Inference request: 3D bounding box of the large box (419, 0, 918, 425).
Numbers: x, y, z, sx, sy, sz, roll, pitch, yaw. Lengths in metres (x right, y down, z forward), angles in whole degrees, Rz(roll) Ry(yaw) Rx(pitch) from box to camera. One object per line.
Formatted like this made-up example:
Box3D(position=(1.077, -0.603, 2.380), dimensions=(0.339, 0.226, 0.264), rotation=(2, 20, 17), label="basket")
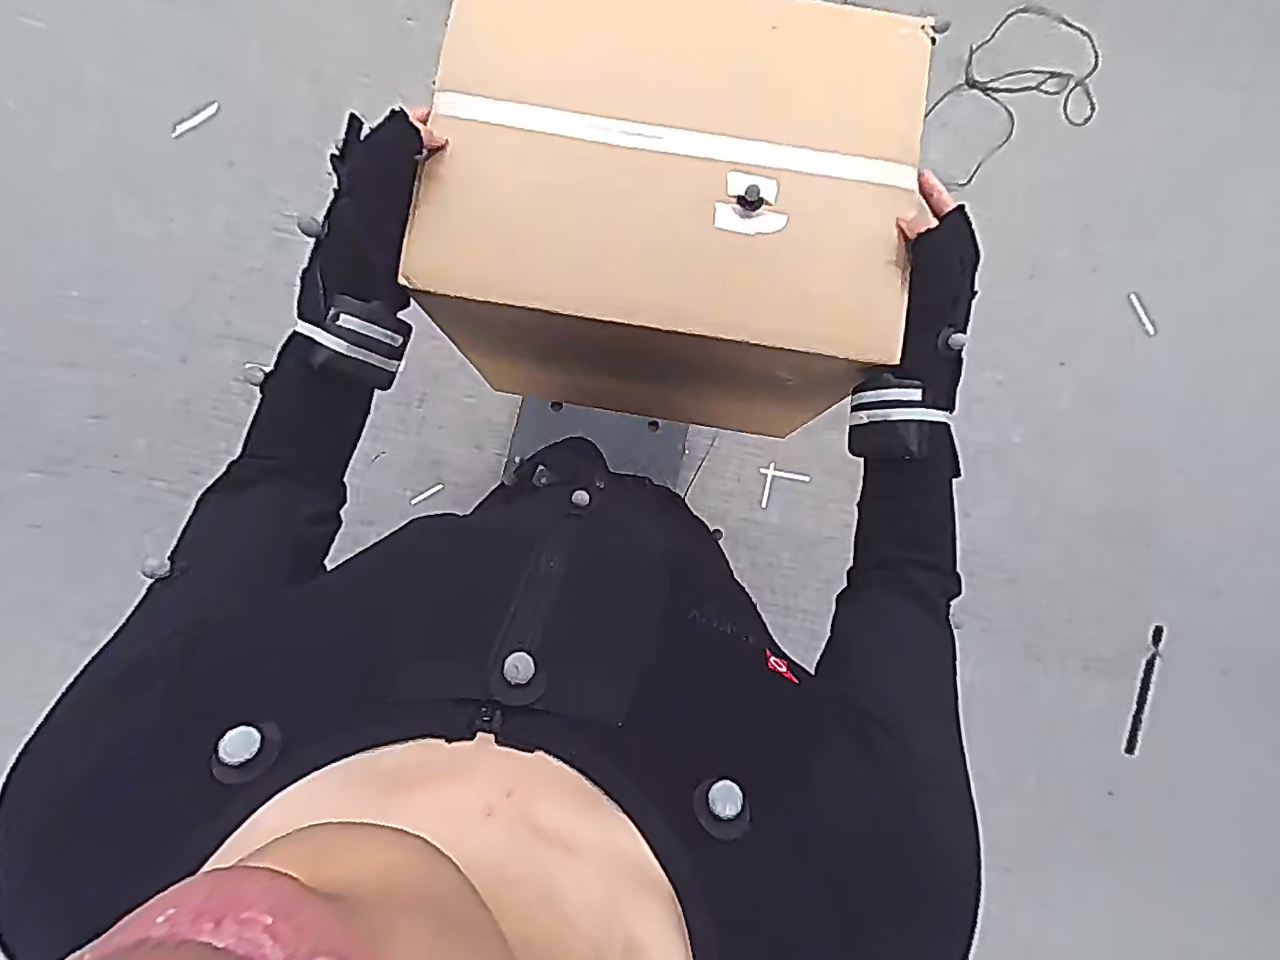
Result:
Box3D(position=(0.027, -0.266, 0.610), dimensions=(0.408, 0.320, 0.320), rotation=(9, 84, -1), label="large box")
